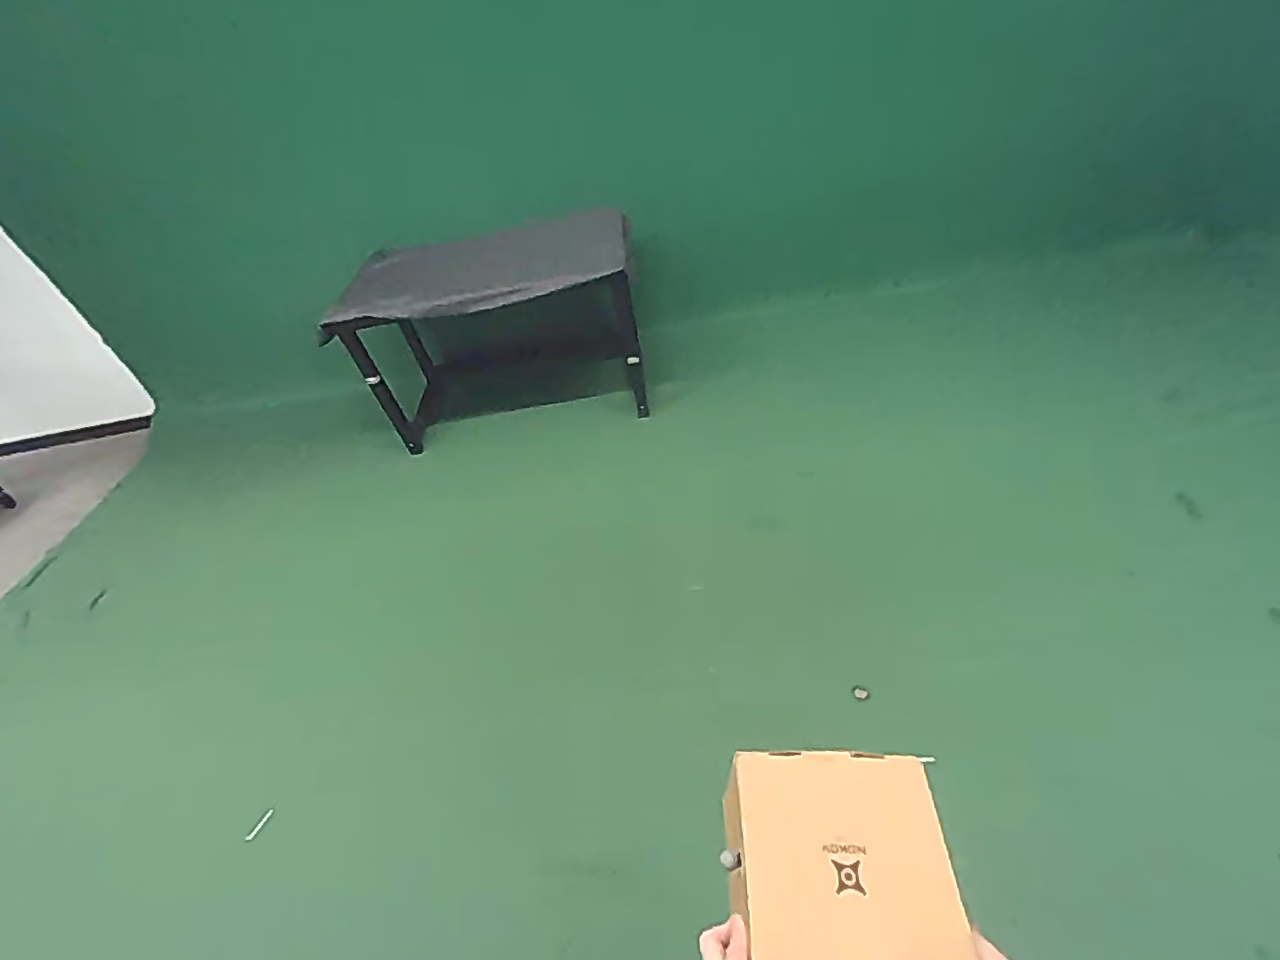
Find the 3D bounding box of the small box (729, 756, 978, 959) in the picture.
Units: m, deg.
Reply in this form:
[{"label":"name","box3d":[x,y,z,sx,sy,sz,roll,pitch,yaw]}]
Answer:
[{"label":"small box","box3d":[0.169,0.368,0.480,0.168,0.176,0.179,0,46,5]}]
